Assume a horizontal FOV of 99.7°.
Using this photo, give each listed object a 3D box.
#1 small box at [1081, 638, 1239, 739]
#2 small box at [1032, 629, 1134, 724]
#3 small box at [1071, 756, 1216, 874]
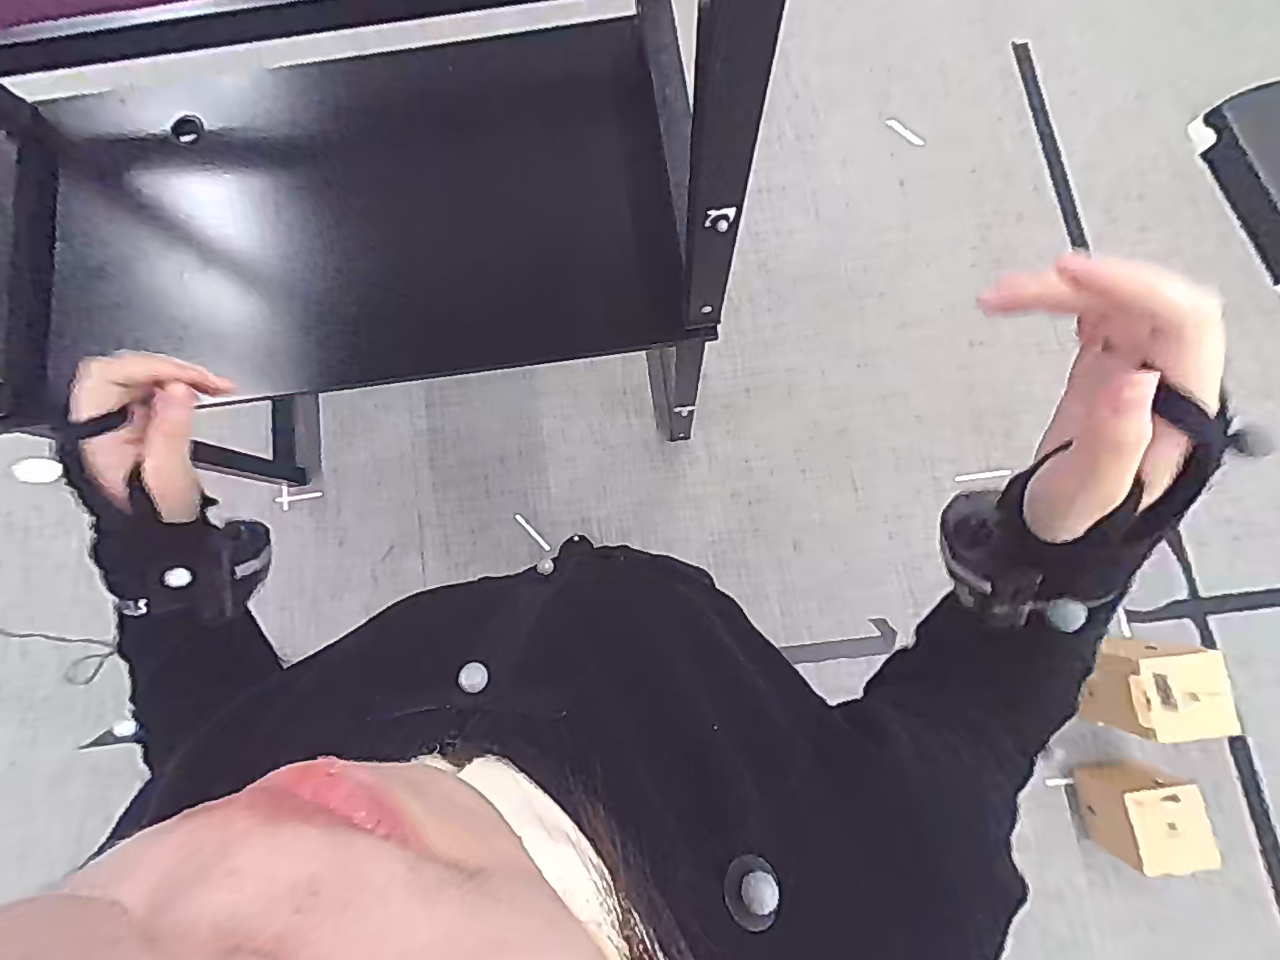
[{"bbox_3d":[1.106,0.444,1.171,0.179,0.176,0.168,-6,82,0],"label":"small box"},{"bbox_3d":[1.117,0.476,1.332,0.168,0.176,0.179,-9,81,1],"label":"small box"},{"bbox_3d":[1.181,0.786,1.283,0.168,0.176,0.179,-9,82,1],"label":"small box"}]
